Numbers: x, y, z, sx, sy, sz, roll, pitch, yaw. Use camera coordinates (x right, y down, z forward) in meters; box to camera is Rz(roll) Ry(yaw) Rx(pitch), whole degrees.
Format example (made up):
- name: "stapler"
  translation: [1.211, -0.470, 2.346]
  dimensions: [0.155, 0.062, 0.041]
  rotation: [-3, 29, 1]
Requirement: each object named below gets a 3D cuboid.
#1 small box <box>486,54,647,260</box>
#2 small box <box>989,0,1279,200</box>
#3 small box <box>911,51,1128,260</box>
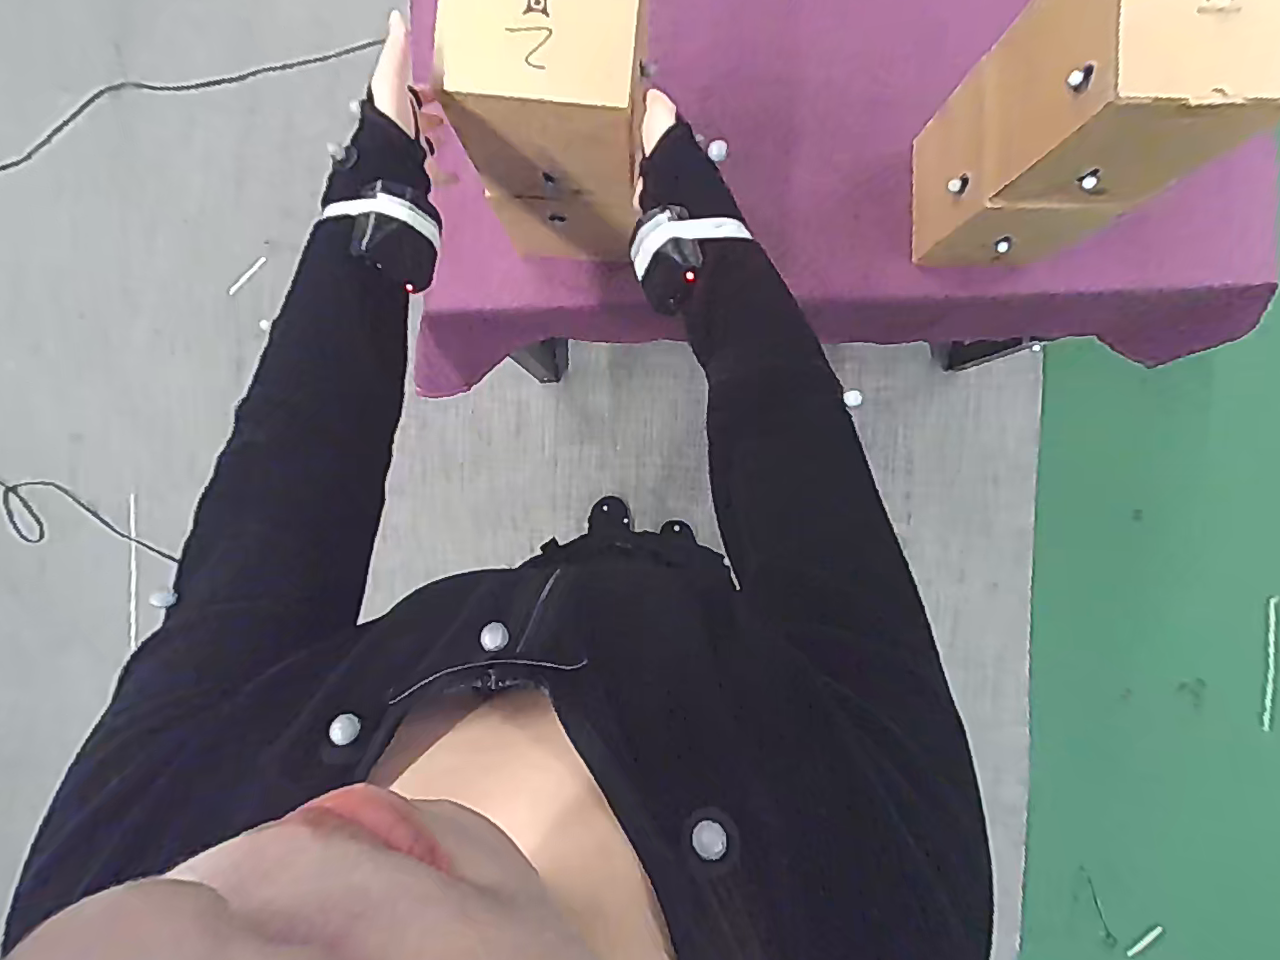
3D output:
- name: "small box"
  translation: [-0.083, -0.394, 0.688]
  dimensions: [0.179, 0.176, 0.168]
  rotation: [3, 91, 0]
- name: "small box"
  translation: [0.469, -0.397, 0.520]
  dimensions: [0.168, 0.176, 0.179]
  rotation: [0, 92, 0]
- name: "small box"
  translation: [0.465, -0.392, 0.683]
  dimensions: [0.168, 0.176, 0.179]
  rotation: [0, 91, 0]
